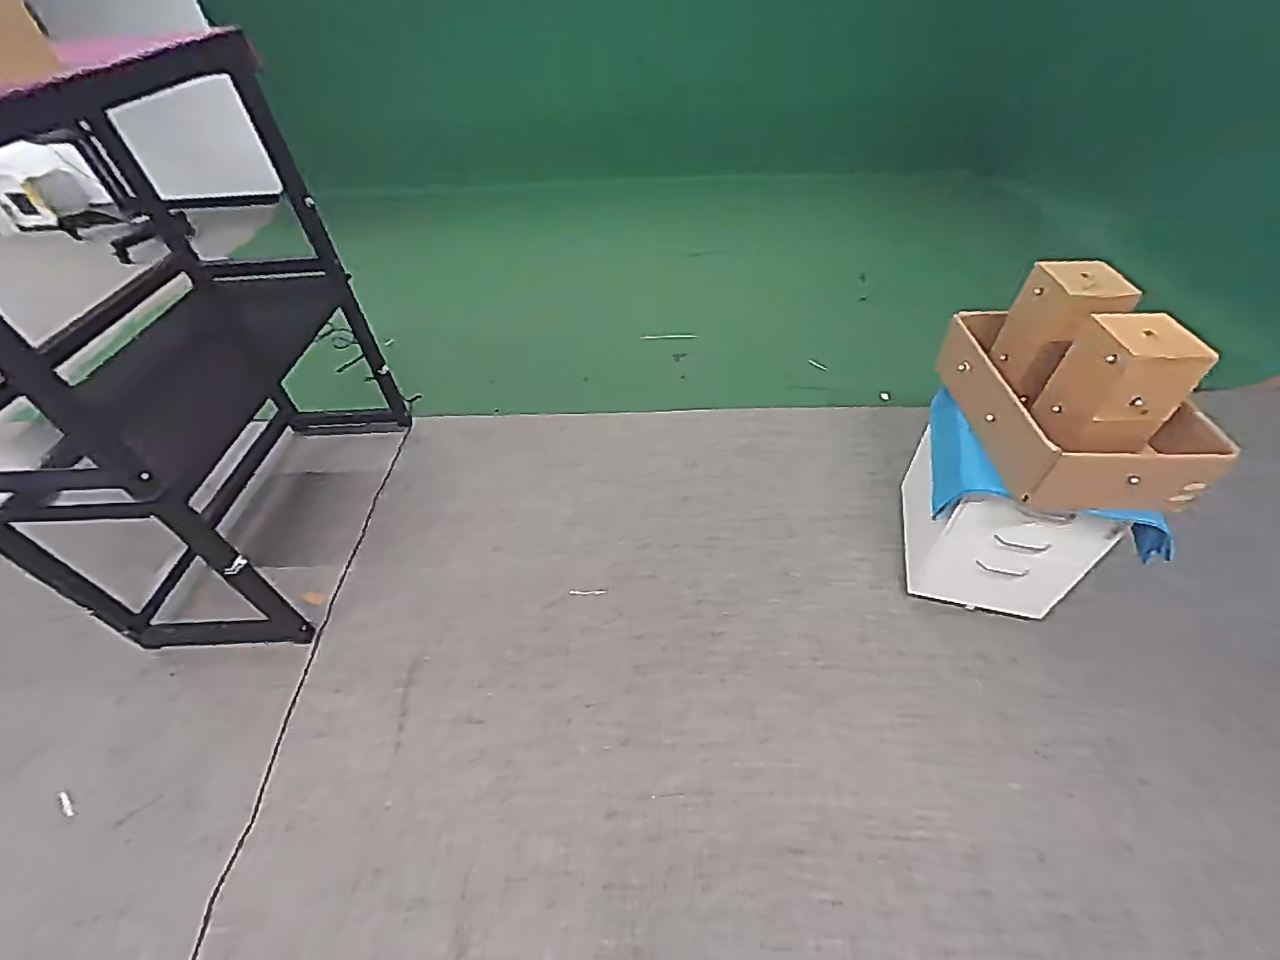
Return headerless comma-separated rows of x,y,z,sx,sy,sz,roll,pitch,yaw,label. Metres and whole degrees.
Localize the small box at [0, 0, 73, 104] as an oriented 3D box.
-1.318,-0.862,1.074,0.168,0.176,0.179,0,46,6,small box
